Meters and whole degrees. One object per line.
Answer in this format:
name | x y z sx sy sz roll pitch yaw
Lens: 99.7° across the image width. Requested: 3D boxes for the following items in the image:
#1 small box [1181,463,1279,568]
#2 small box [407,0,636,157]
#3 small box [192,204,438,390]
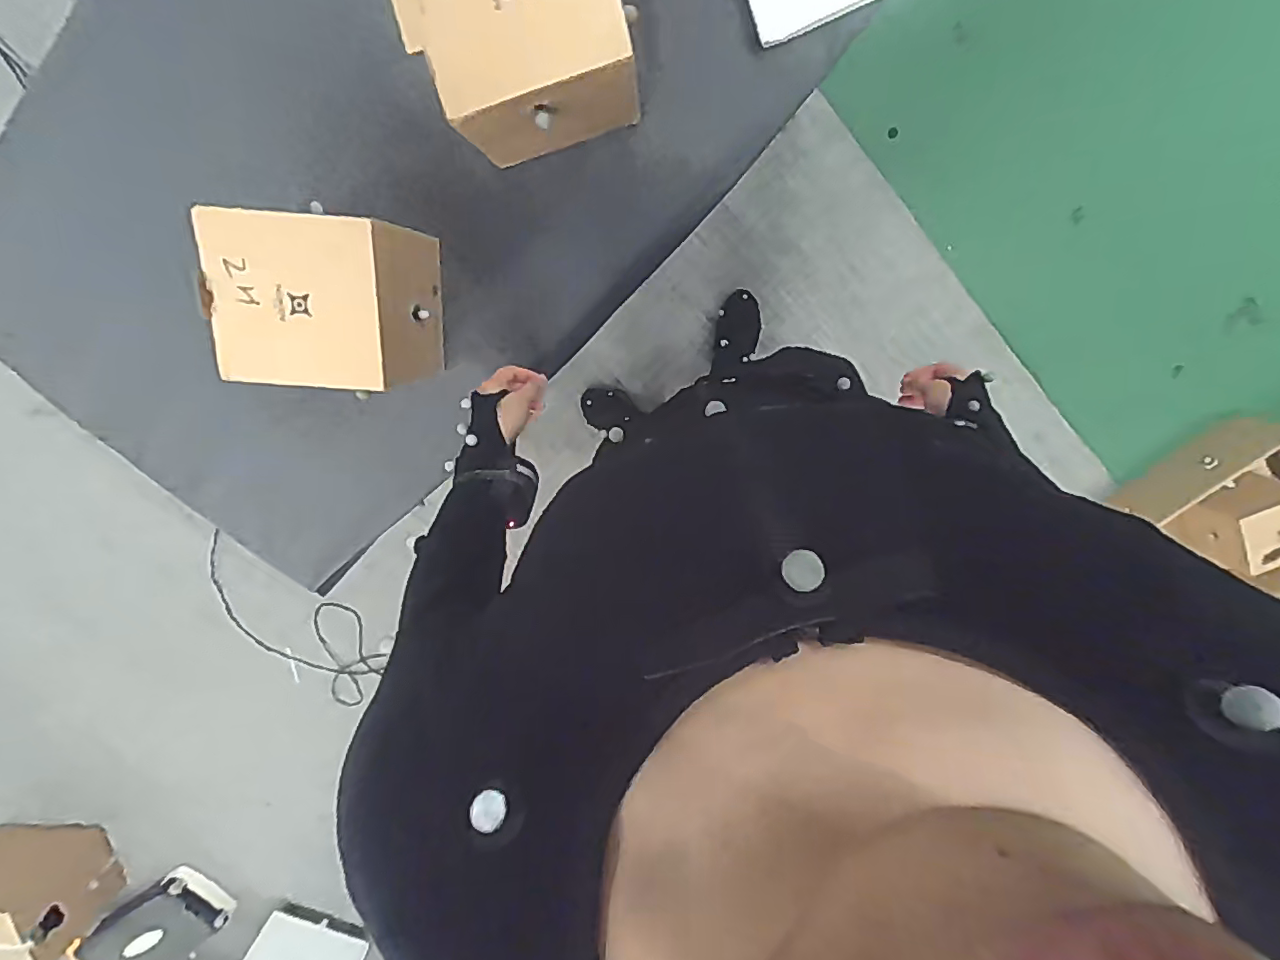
small box | 1.539 0.085 1.368 0.168 0.176 0.179 -27 107 11
small box | -0.106 -0.440 0.518 0.179 0.176 0.168 -14 108 8
small box | -0.339 -0.202 0.609 0.179 0.176 0.168 4 108 1
